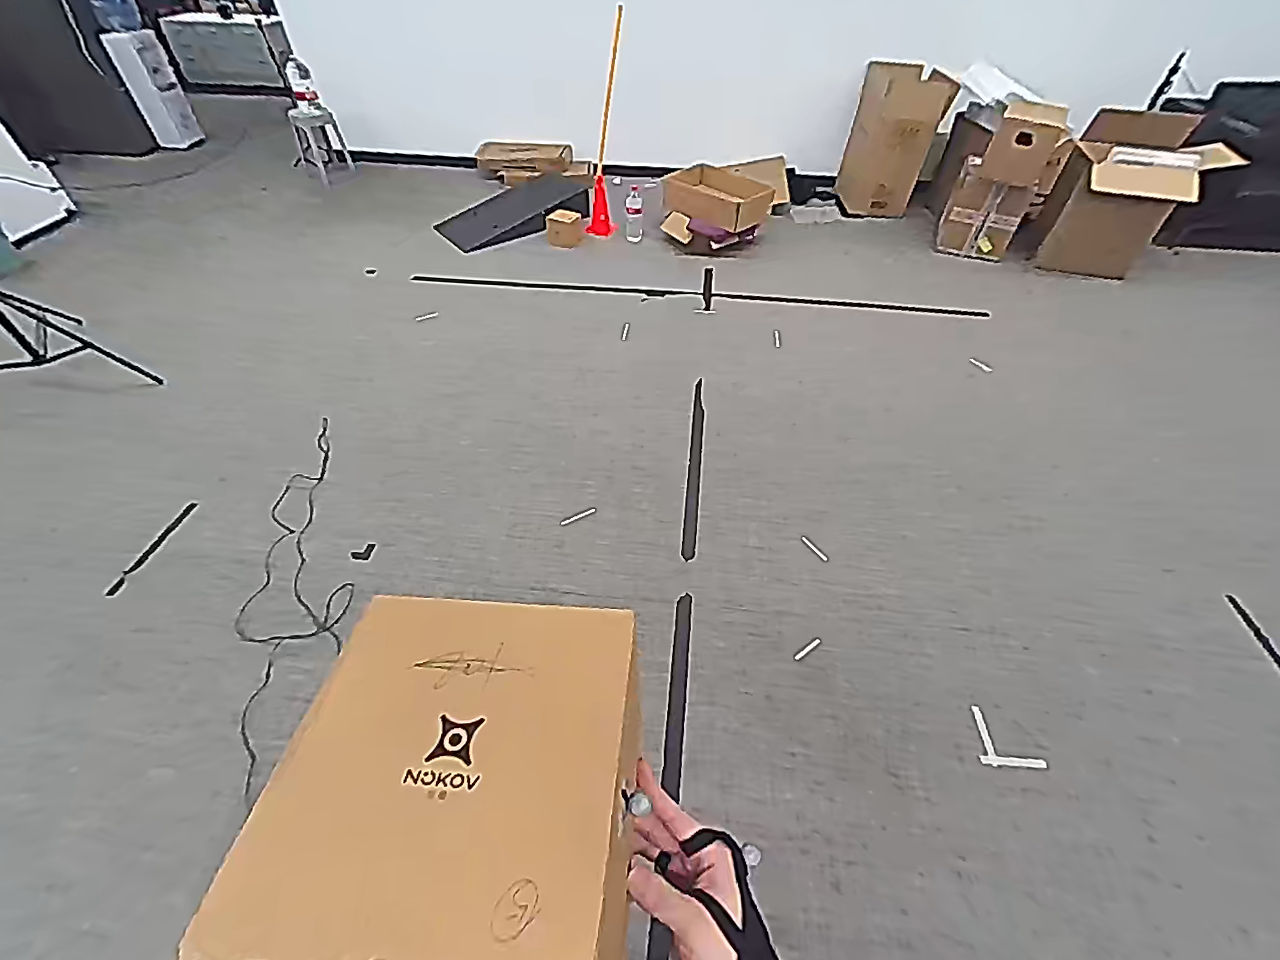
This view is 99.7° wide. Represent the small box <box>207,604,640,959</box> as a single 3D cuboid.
[{"bbox_3d":[-0.089,0.199,0.329,0.168,0.176,0.179,2,41,4],"label":"small box"}]
